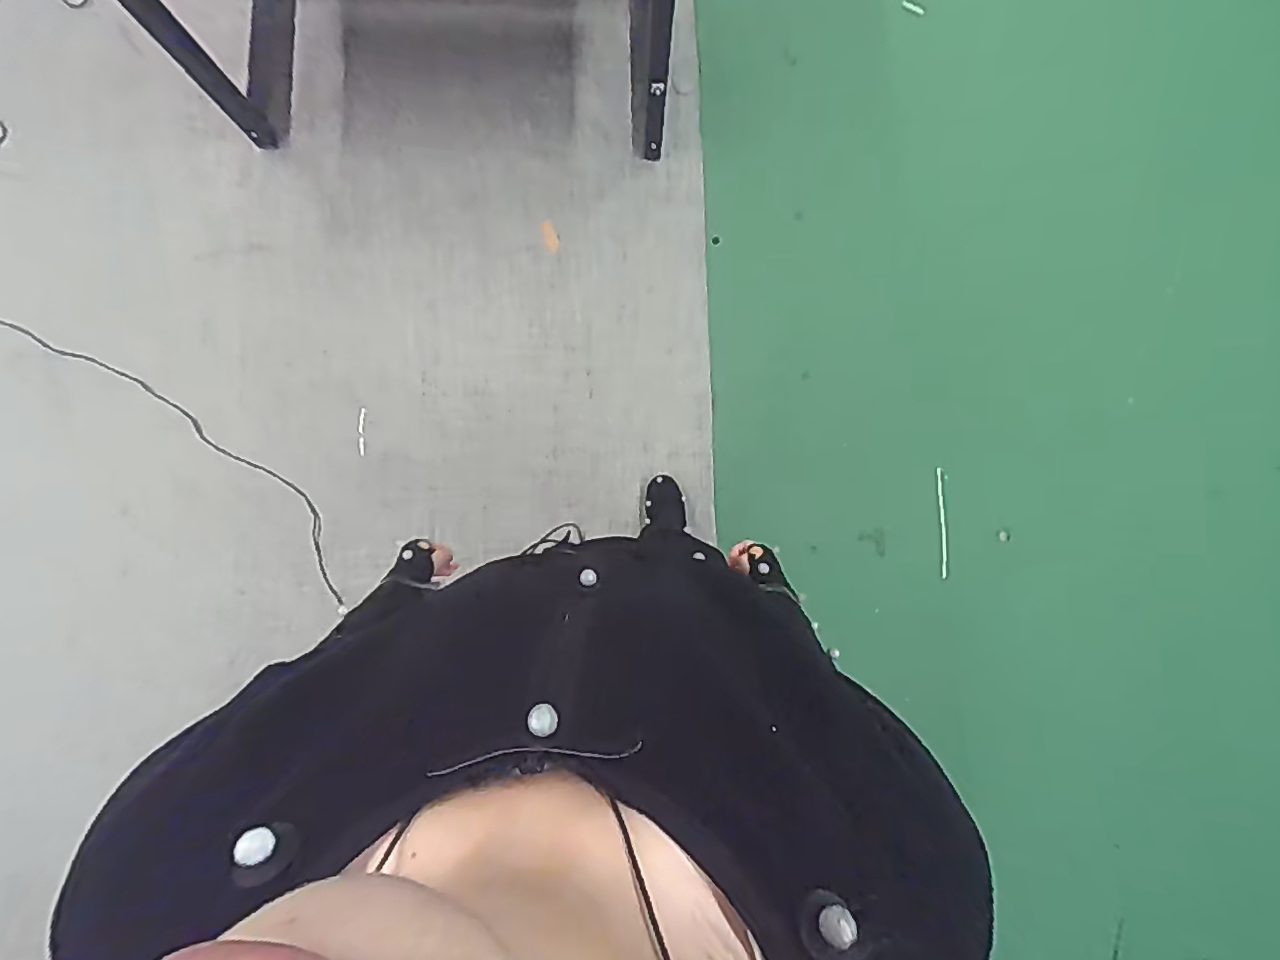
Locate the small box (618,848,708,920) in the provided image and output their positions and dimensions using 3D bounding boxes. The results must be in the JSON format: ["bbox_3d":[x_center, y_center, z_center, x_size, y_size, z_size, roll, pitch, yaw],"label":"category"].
[{"bbox_3d":[0.049,0.858,1.059,0.168,0.176,0.179,-10,85,-3],"label":"small box"}]
